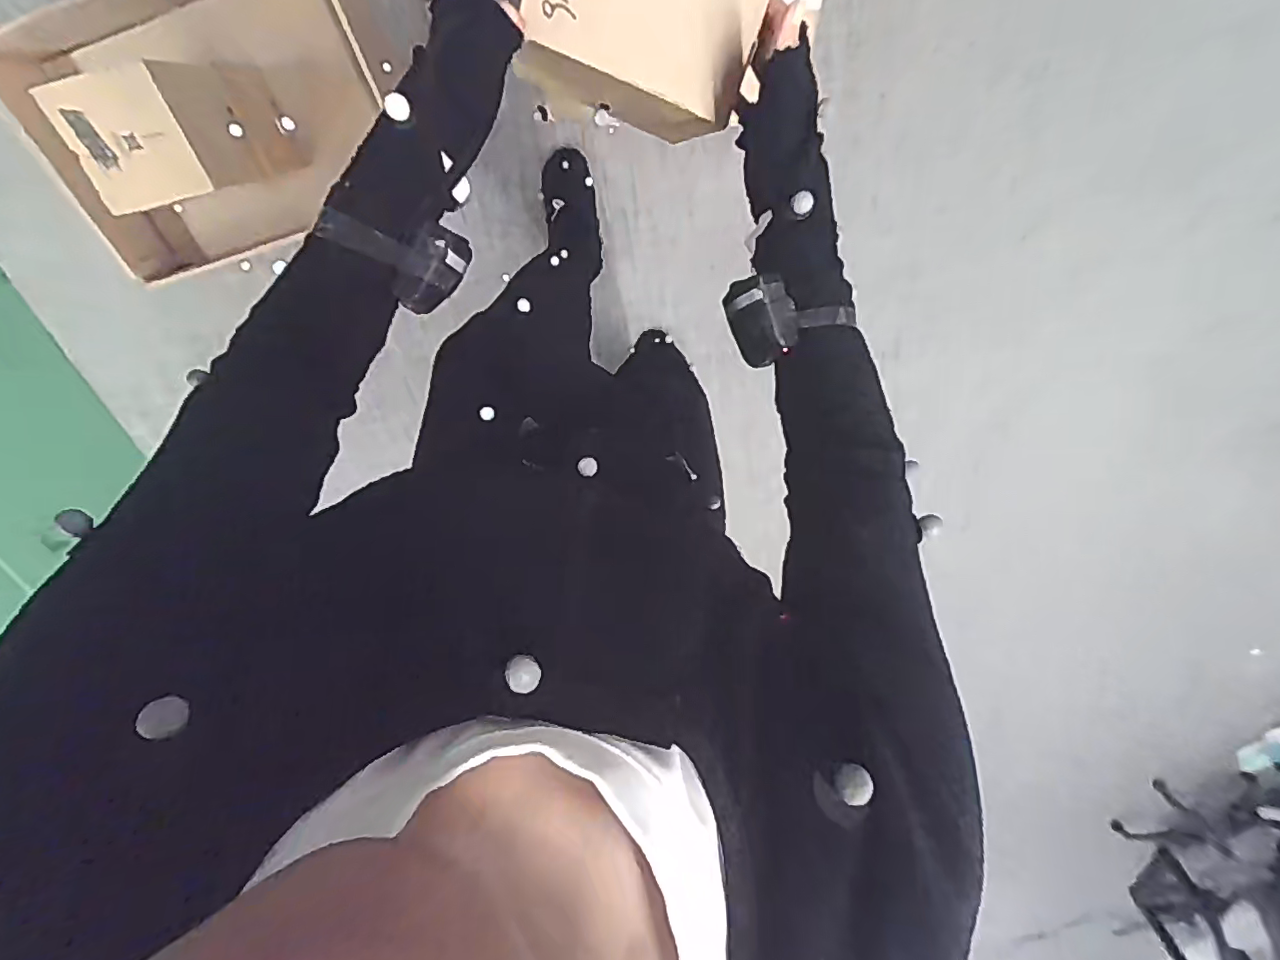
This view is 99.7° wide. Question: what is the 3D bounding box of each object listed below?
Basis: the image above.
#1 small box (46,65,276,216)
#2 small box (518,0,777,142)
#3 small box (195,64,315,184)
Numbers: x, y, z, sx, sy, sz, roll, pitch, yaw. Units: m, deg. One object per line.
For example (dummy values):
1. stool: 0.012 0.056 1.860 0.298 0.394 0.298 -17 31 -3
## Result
1. small box: -0.739 -0.534 0.861 0.179 0.176 0.168 -12 123 4
2. small box: 0.003 -0.405 0.454 0.179 0.176 0.168 11 114 -19
3. small box: -0.748 -0.633 0.993 0.179 0.176 0.168 -14 123 5
